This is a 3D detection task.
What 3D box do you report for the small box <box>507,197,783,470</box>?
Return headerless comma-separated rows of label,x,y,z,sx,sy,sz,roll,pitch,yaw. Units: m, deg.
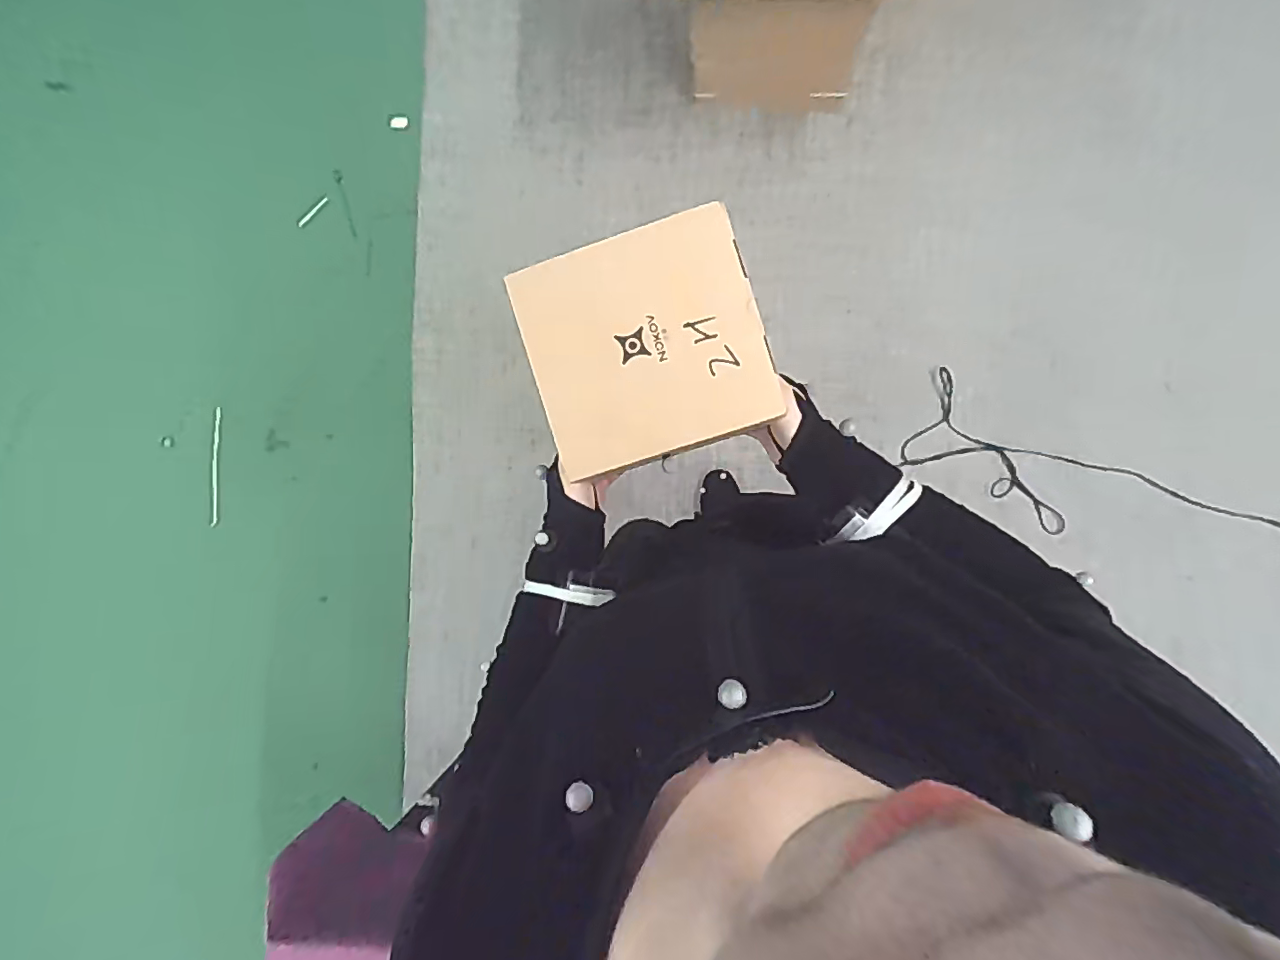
small box,0.008,-0.109,0.482,0.179,0.176,0.168,-16,91,4
